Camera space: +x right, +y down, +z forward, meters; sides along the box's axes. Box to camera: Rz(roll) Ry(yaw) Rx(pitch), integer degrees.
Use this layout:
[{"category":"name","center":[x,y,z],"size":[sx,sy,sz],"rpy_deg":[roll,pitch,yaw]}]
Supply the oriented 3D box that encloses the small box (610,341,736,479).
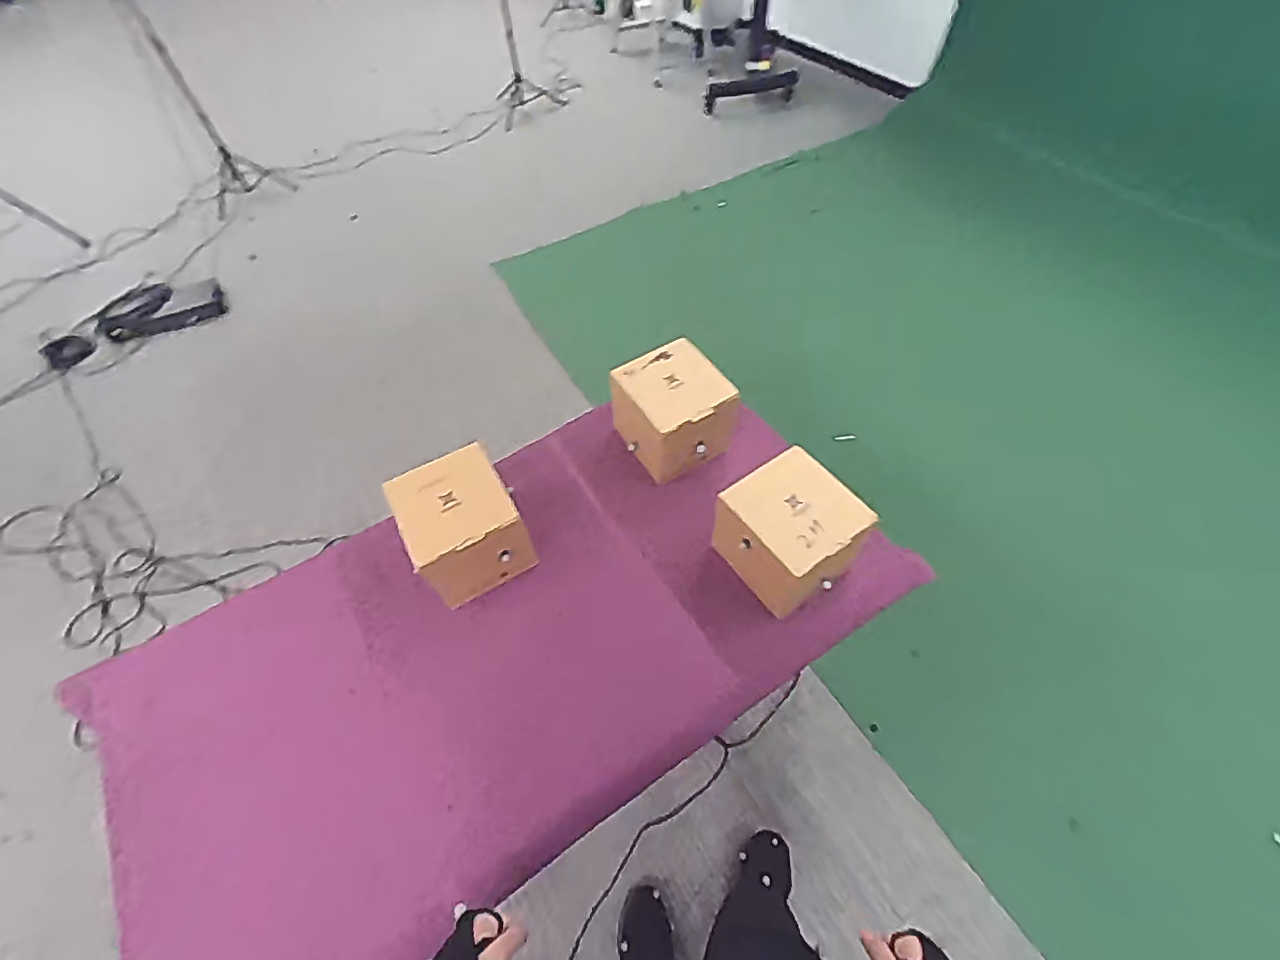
[{"category":"small box","center":[0.059,-0.125,1.034],"size":[0.168,0.176,0.179],"rpy_deg":[-29,62,-17]}]

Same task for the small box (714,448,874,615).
[{"category":"small box","center":[0.236,0.087,0.881],"size":[0.168,0.176,0.179],"rpy_deg":[-31,59,-16]}]

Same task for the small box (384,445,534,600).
[{"category":"small box","center":[-0.295,0.080,0.908],"size":[0.168,0.176,0.179],"rpy_deg":[-27,59,-16]}]
